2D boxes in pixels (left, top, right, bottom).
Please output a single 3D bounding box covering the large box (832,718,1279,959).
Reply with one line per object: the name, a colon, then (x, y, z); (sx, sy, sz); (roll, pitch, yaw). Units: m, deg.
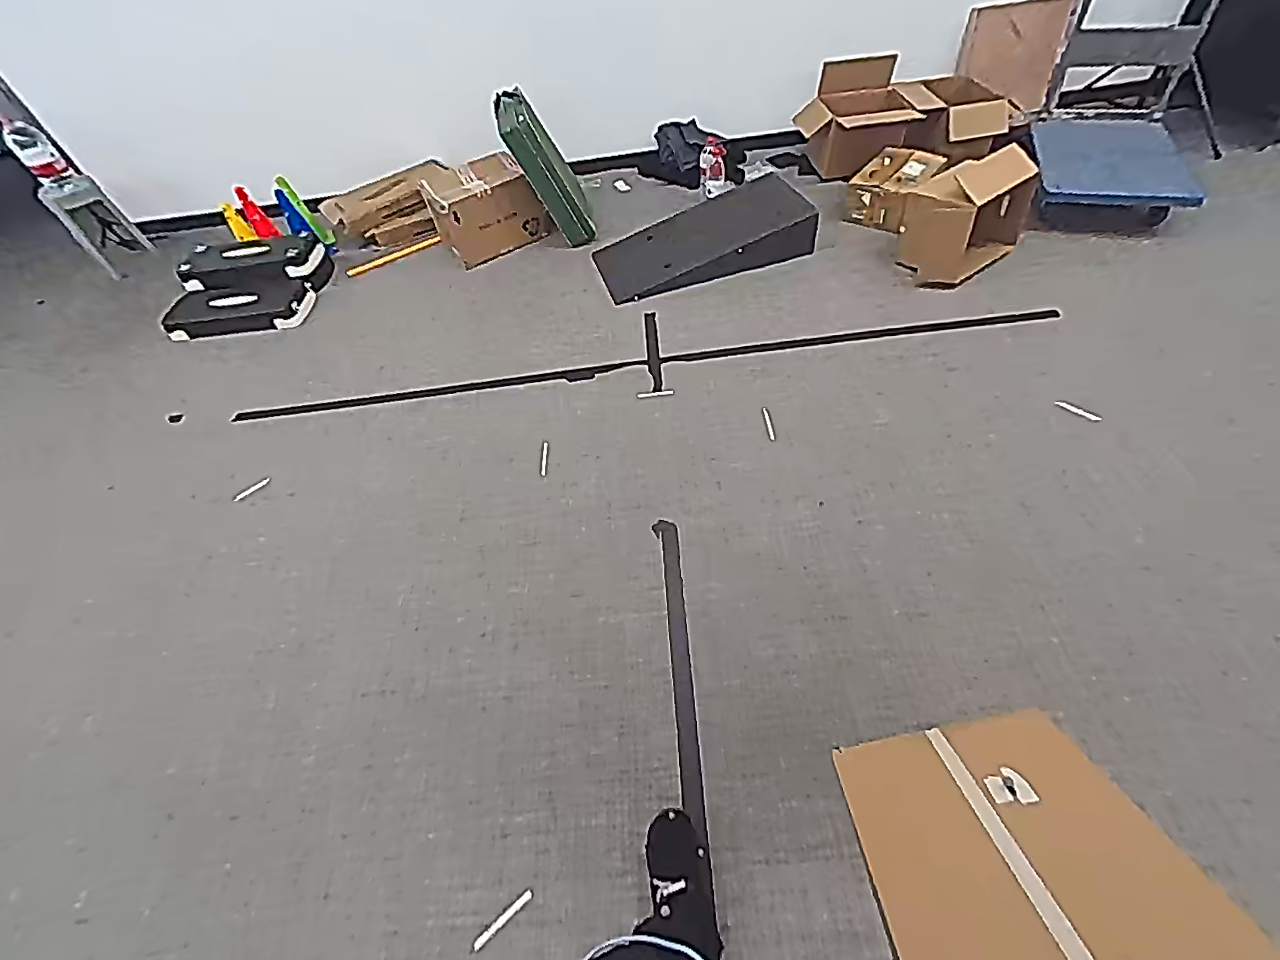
large box: (0.476, 0.577, 0.670); (0.320, 0.320, 0.408); (-15, 7, 9)
